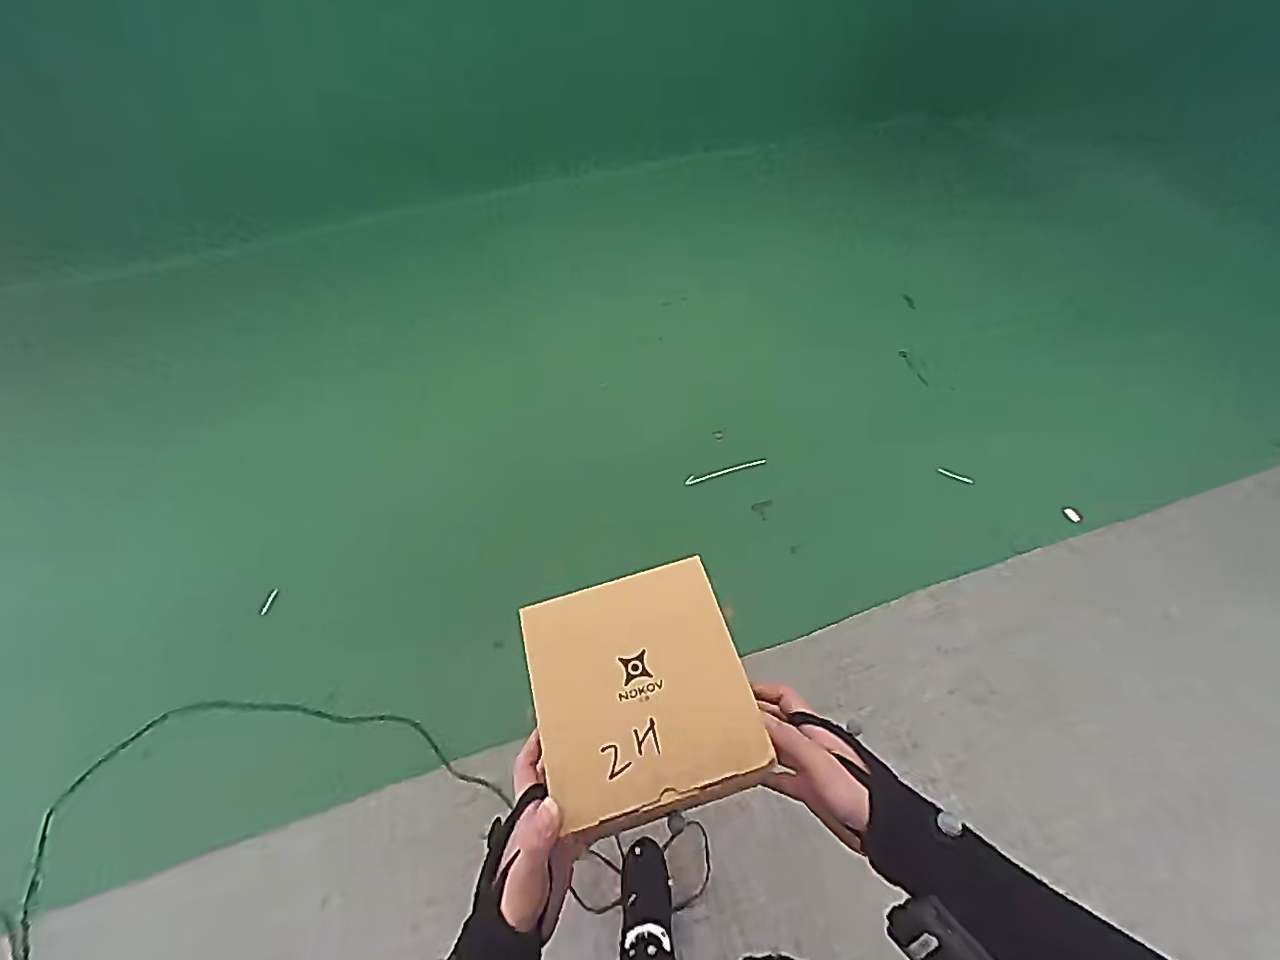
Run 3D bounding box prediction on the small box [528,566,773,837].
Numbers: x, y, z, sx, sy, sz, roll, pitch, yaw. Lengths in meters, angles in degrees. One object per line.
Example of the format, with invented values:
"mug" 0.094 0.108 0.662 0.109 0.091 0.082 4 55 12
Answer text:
"small box" 0.004 0.208 0.500 0.168 0.176 0.179 -15 56 -4
